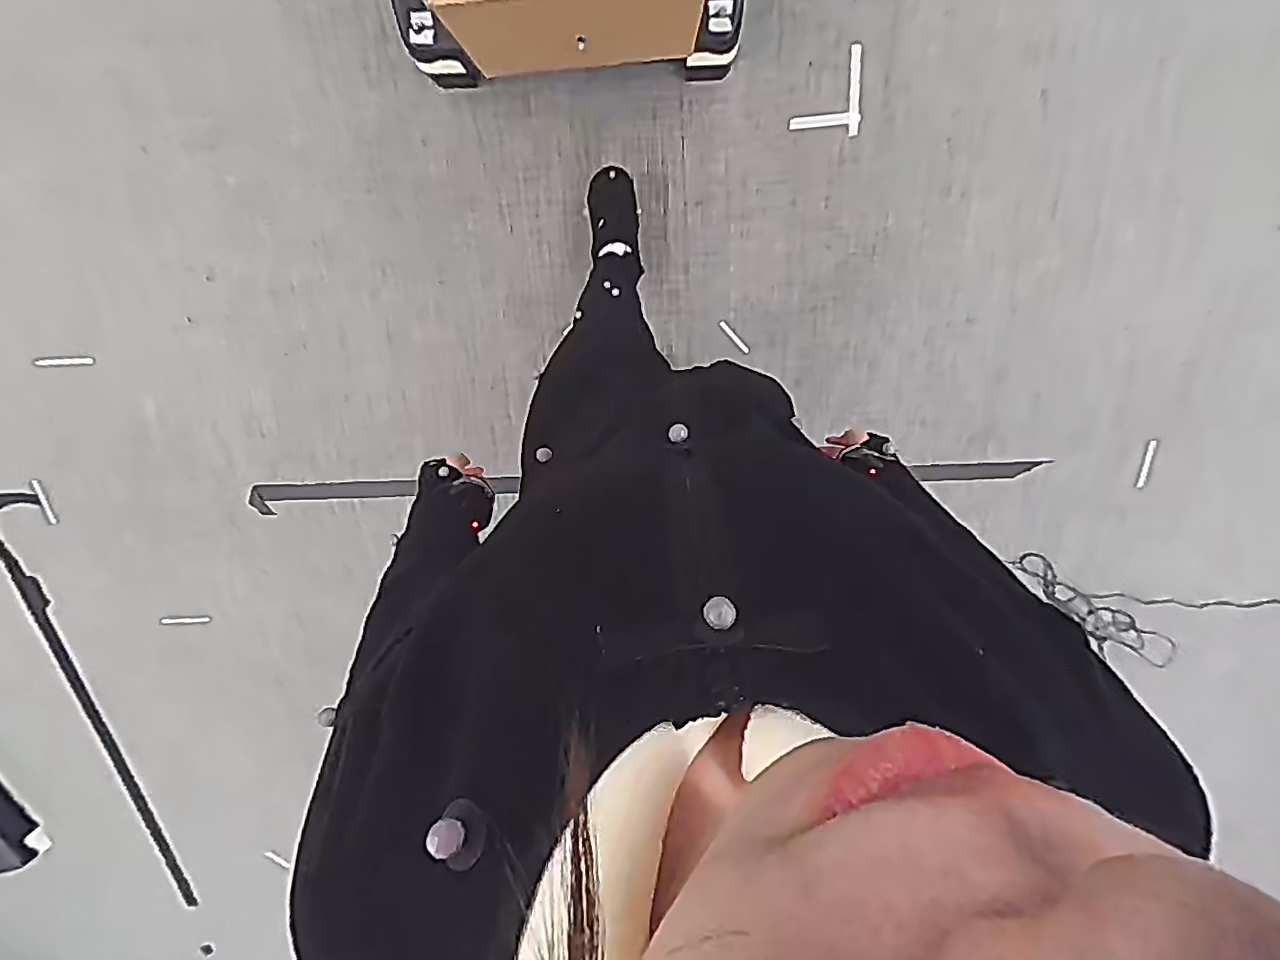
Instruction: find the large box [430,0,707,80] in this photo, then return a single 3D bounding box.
[{"bbox_3d":[-0.109,-0.873,0.840,0.408,0.320,0.320,-5,110,3],"label":"large box"}]
